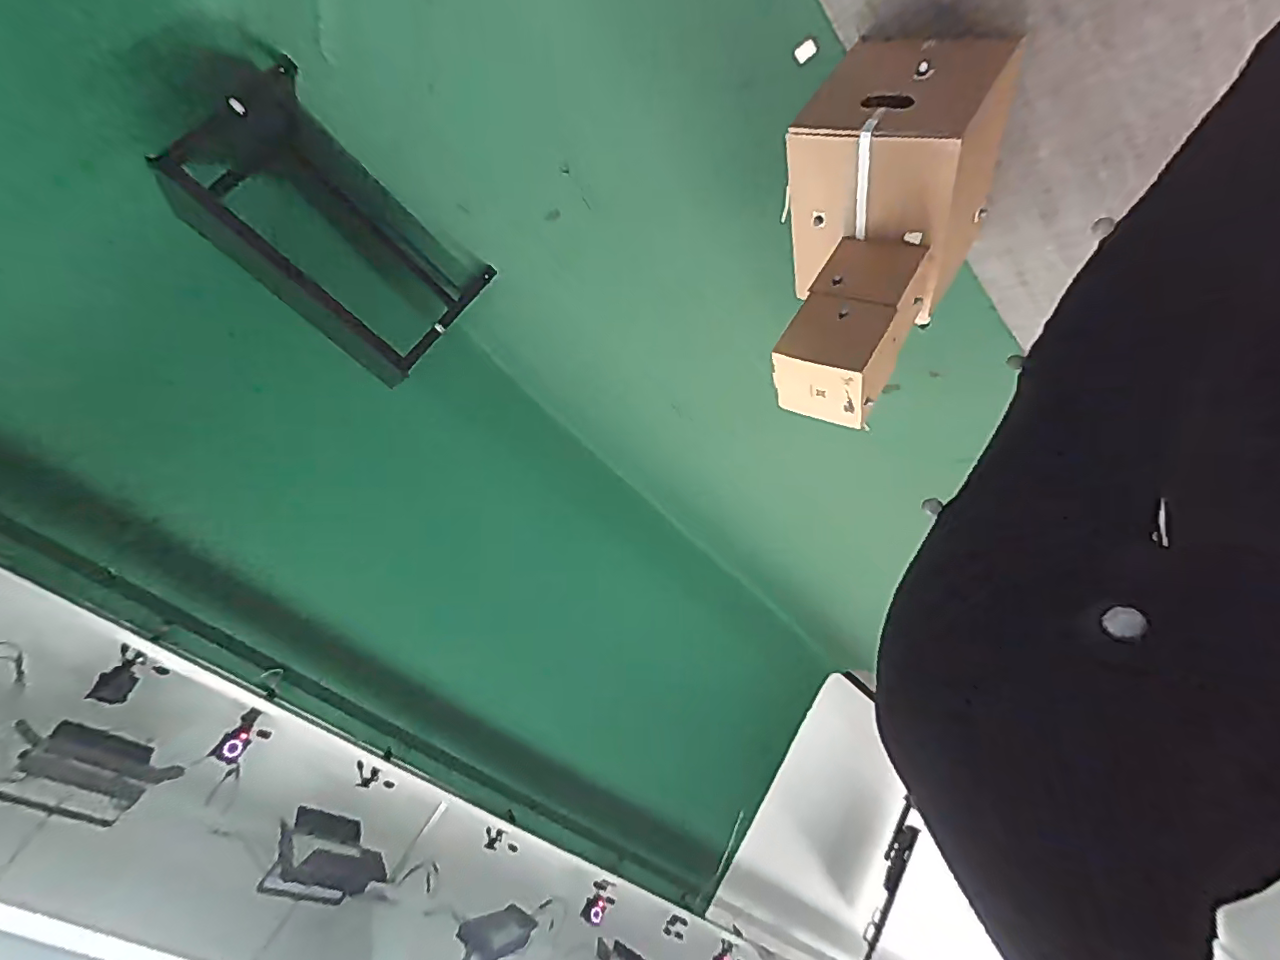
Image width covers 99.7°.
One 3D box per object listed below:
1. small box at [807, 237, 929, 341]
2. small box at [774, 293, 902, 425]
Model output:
[{"bbox_3d":[0.465,-0.373,1.113,0.179,0.176,0.168,23,160,30],"label":"small box"},{"bbox_3d":[0.385,-0.240,1.059,0.179,0.176,0.168,24,160,31],"label":"small box"}]
